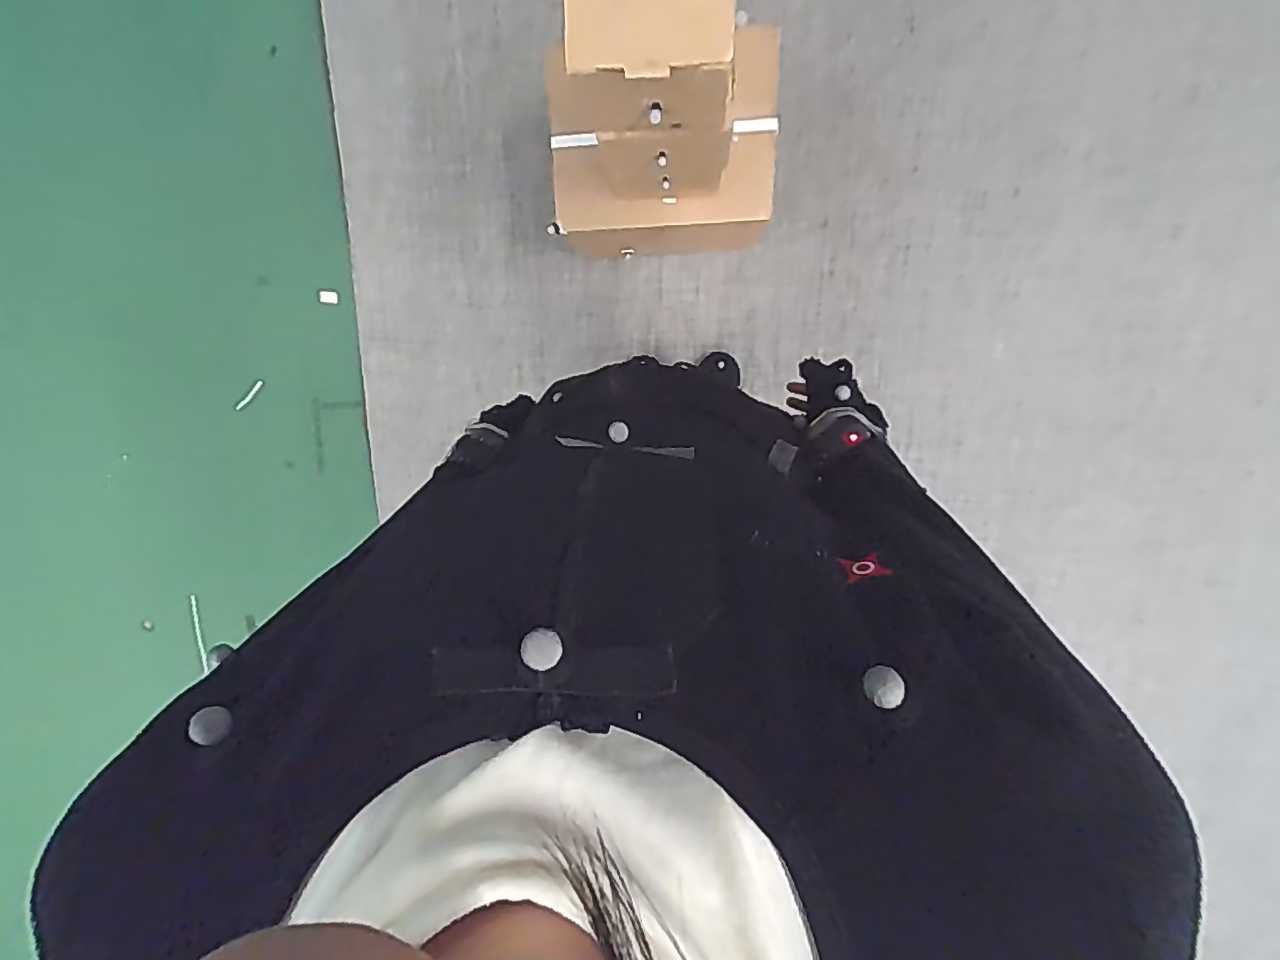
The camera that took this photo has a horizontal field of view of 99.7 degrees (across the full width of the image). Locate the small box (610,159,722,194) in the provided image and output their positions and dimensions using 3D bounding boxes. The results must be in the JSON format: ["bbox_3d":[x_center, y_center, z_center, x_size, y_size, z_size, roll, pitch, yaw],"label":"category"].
[{"bbox_3d":[0.049,-0.583,0.894,0.179,0.176,0.168,1,106,5],"label":"small box"}]

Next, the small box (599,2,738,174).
[{"bbox_3d":[0.038,-0.535,0.738,0.179,0.176,0.168,-3,105,7],"label":"small box"}]

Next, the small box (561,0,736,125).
[{"bbox_3d":[0.017,-0.503,0.578,0.168,0.176,0.179,4,106,7],"label":"small box"}]
